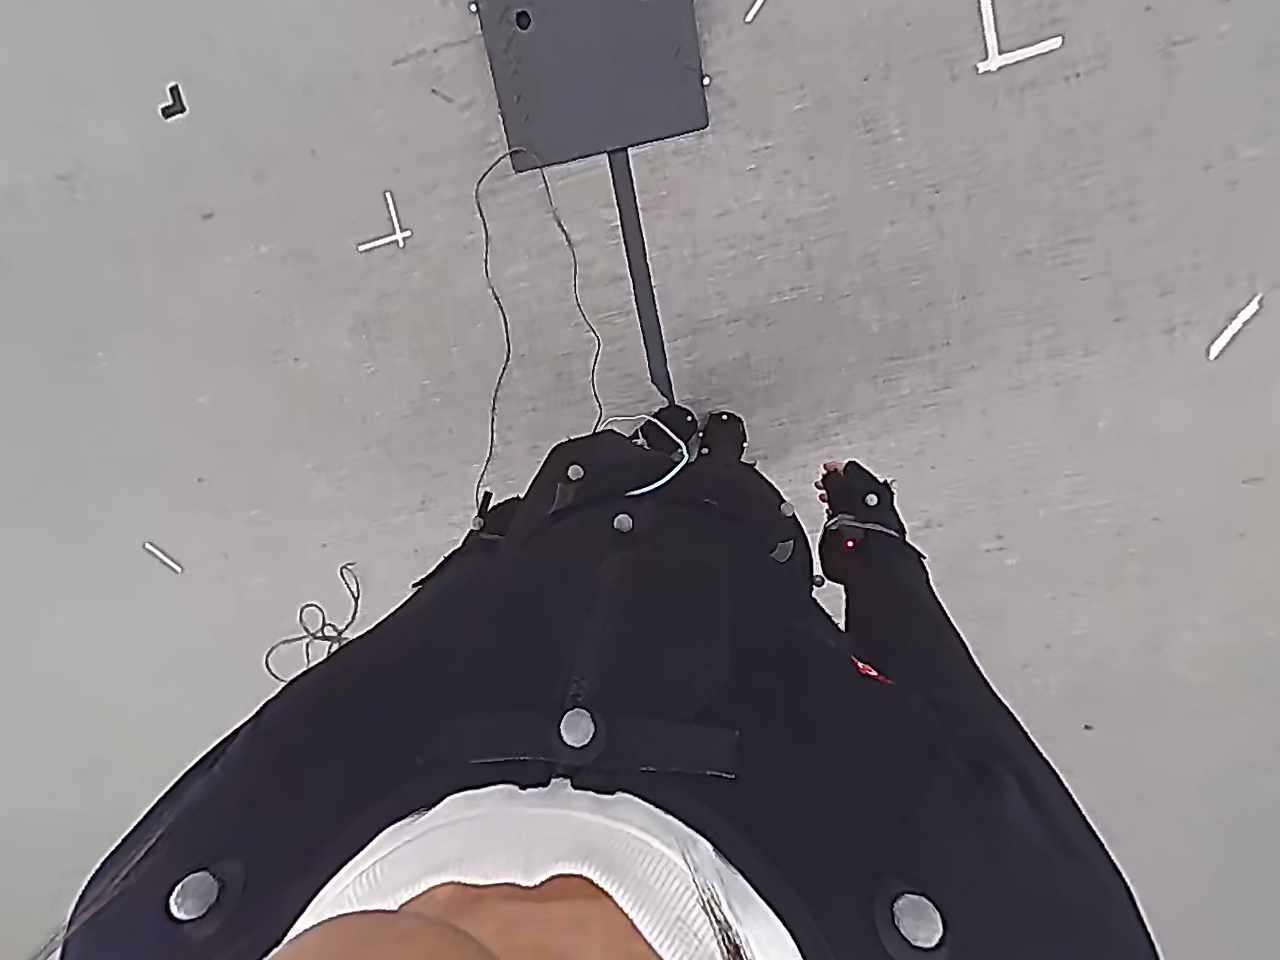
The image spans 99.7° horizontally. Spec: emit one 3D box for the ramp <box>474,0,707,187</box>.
[{"bbox_3d":[-0.168,-1.252,1.202,0.509,0.206,0.991,-12,97,8],"label":"ramp"}]
